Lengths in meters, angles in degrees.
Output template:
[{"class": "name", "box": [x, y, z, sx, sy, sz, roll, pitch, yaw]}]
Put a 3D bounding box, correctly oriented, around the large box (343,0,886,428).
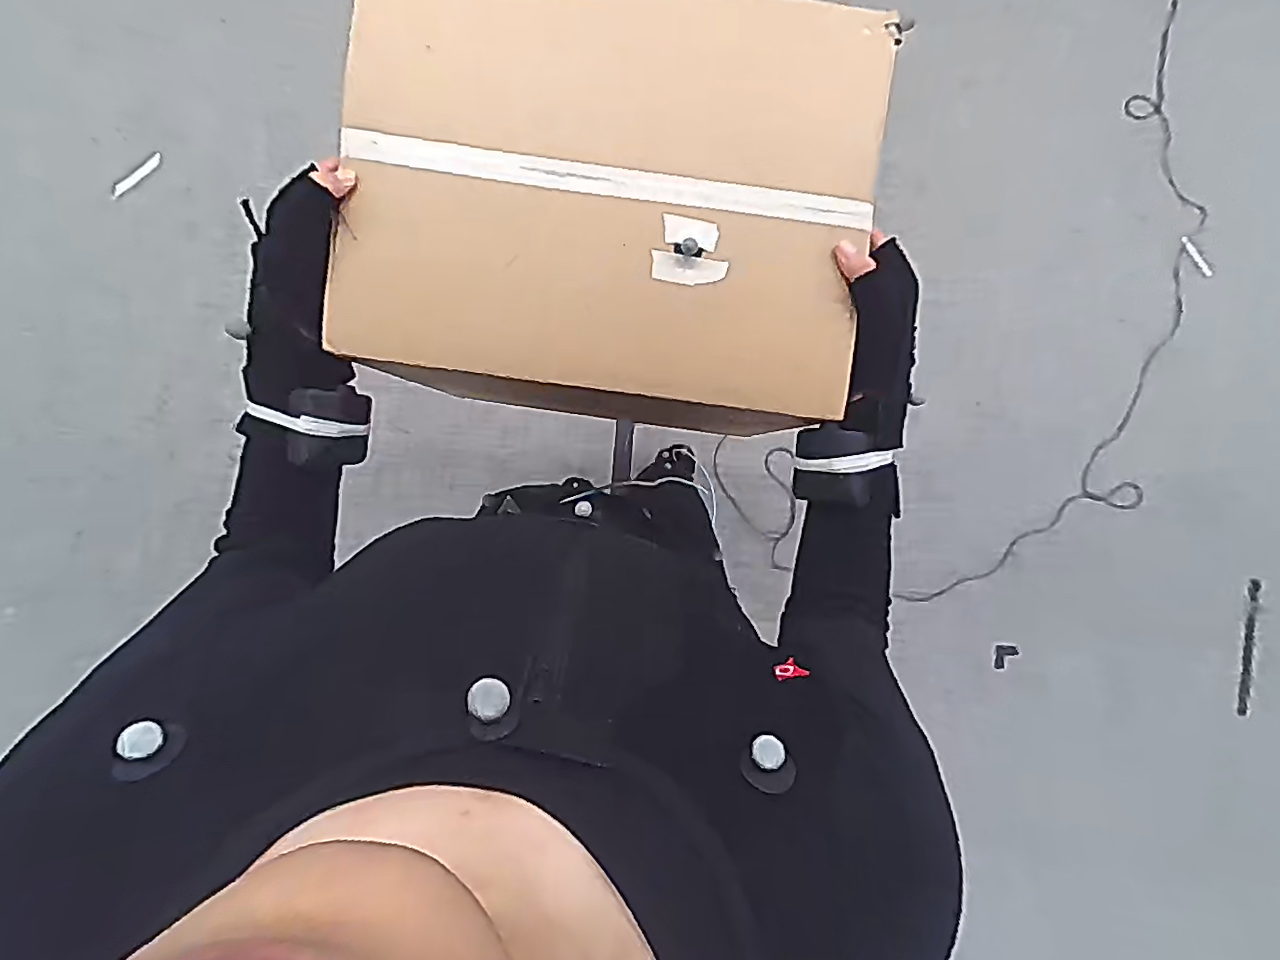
[{"class": "large box", "box": [-0.026, -0.236, 0.571, 0.408, 0.320, 0.320, 7, 93, -3]}]
